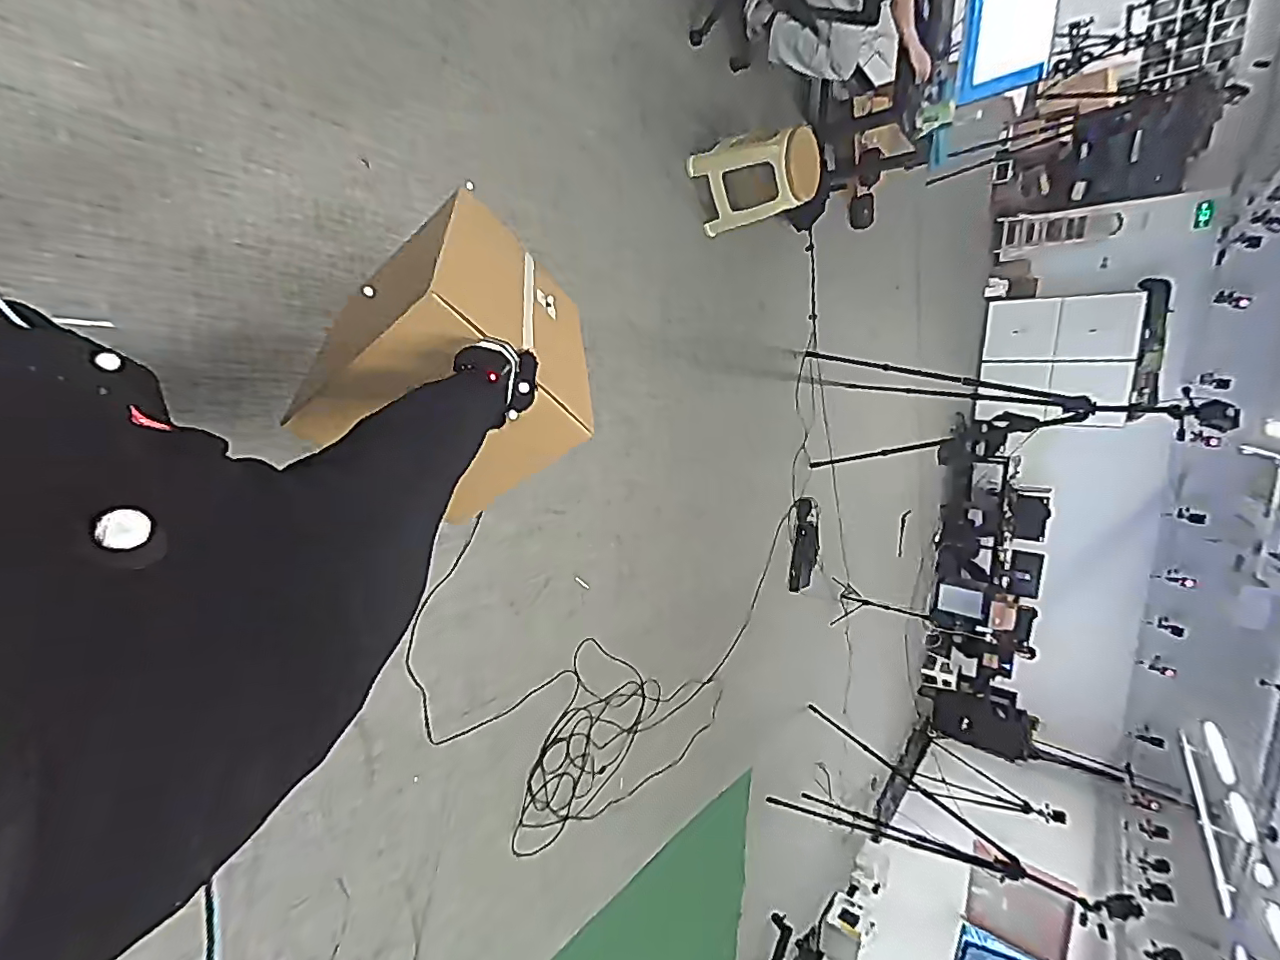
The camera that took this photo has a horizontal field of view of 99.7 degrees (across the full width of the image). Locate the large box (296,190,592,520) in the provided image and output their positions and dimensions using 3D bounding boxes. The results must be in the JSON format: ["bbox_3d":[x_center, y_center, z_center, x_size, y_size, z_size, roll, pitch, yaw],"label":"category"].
[{"bbox_3d":[-0.312,-0.210,0.937,0.320,0.320,0.408,42,24,-39],"label":"large box"}]
